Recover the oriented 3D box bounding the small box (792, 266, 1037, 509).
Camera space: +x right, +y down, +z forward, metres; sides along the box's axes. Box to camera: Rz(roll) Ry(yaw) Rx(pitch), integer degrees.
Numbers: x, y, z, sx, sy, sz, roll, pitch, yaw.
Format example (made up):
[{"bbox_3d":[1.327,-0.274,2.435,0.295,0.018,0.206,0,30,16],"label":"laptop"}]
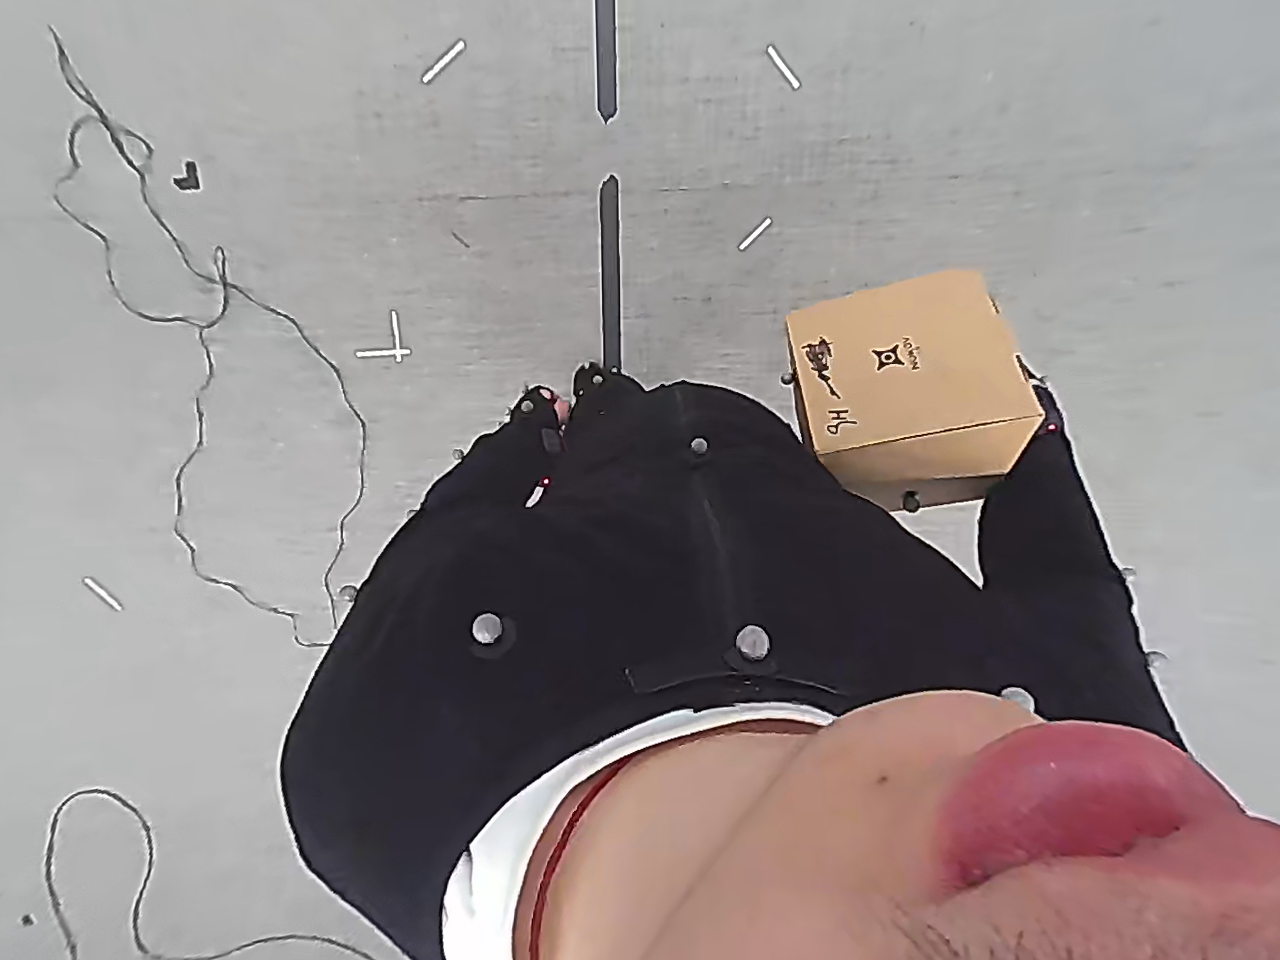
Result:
[{"bbox_3d":[0.261,-0.082,0.561,0.179,0.176,0.168,-10,62,15],"label":"small box"}]
